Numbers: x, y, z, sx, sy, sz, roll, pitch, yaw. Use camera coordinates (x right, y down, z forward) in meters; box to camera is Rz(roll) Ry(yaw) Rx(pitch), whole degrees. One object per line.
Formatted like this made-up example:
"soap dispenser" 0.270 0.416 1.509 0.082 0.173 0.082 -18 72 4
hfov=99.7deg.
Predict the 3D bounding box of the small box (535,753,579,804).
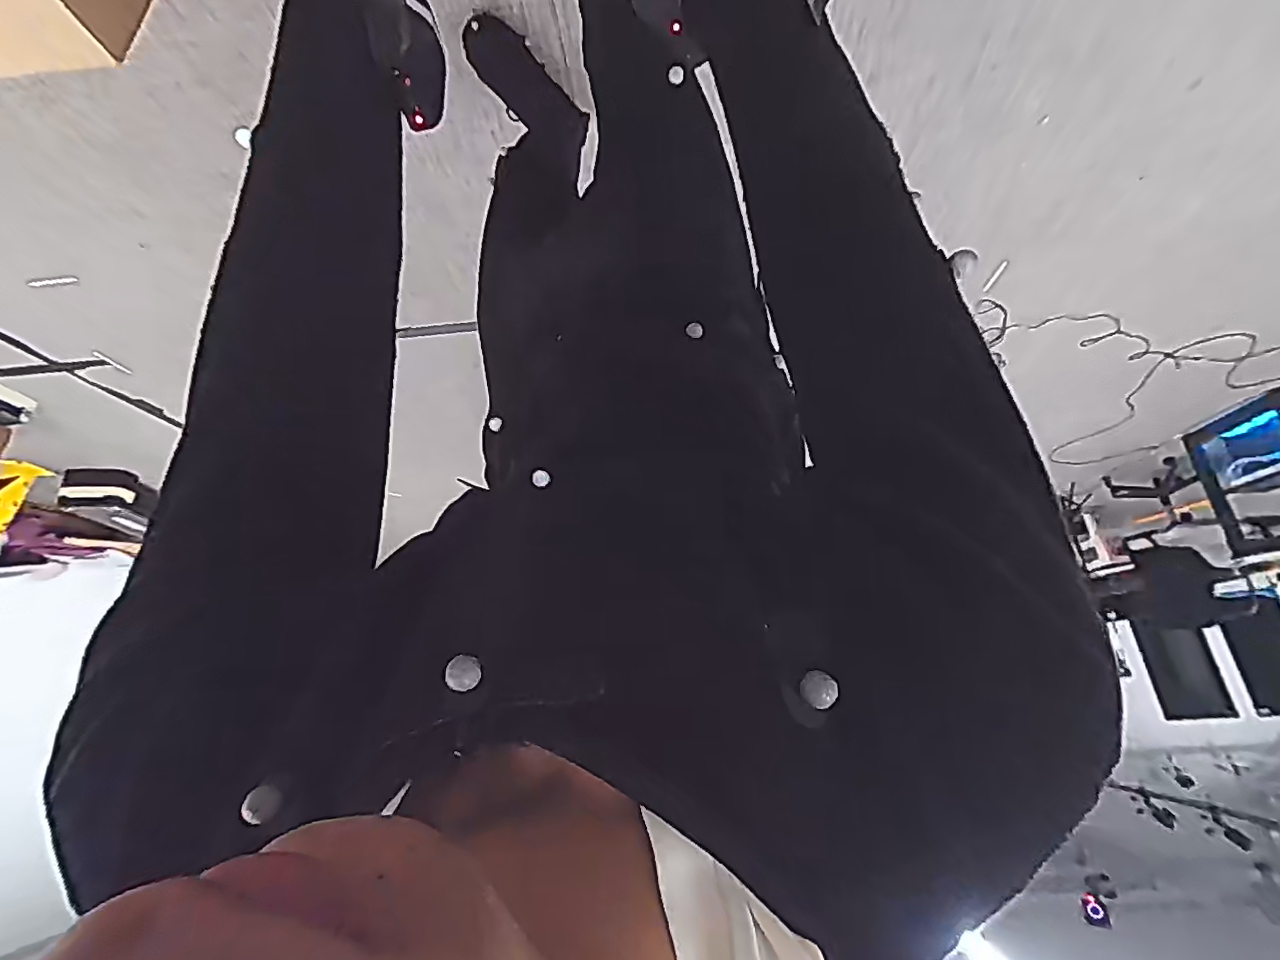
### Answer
"small box" -0.352 1.272 2.312 0.168 0.176 0.179 -4 159 -2
